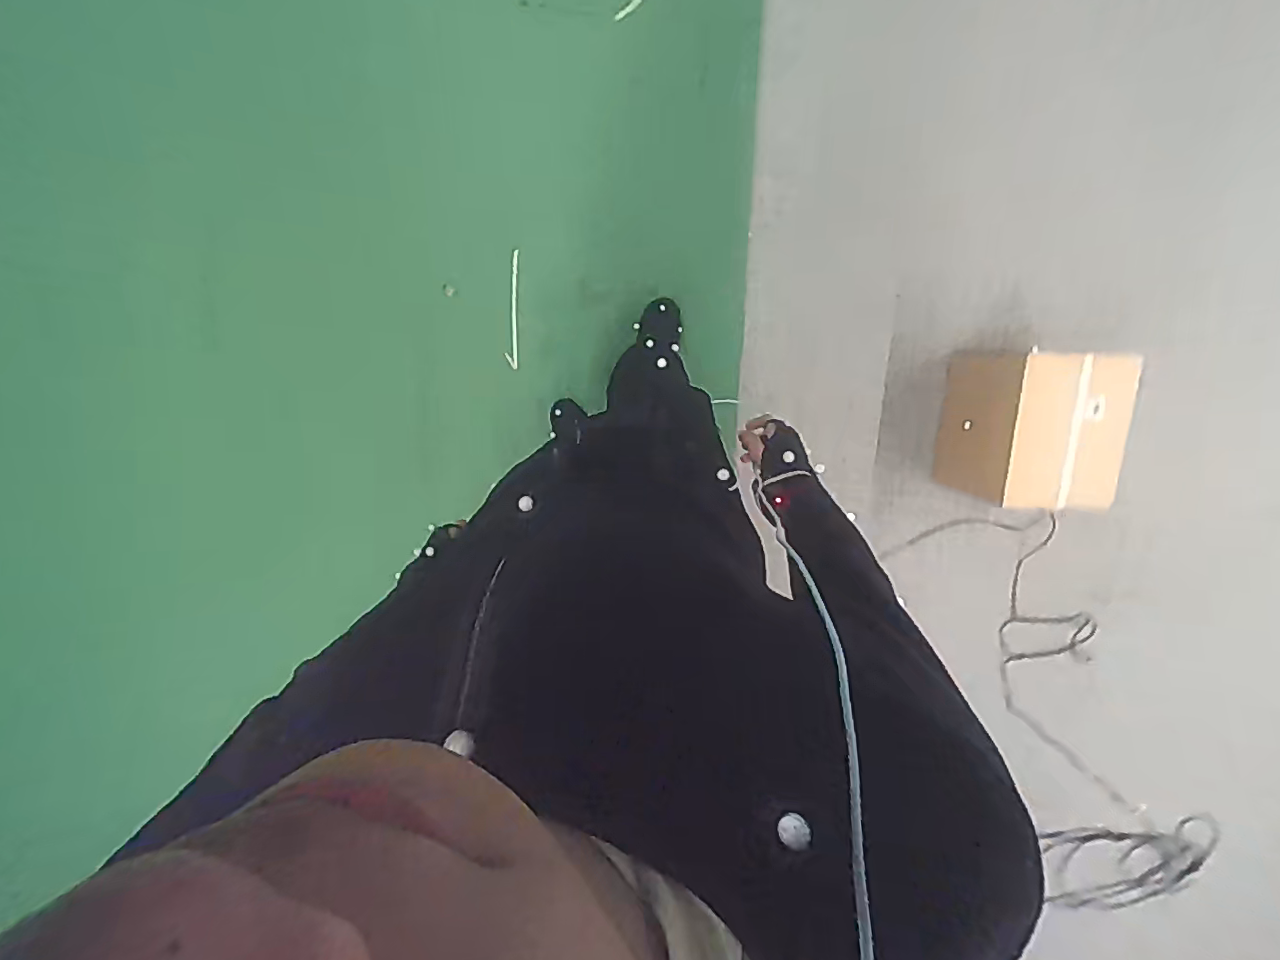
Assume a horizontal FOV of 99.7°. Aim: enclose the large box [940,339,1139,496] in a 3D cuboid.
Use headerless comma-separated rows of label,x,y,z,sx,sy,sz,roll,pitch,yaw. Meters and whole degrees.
large box,1.095,-0.181,1.528,0.320,0.320,0.408,-1,101,-4
